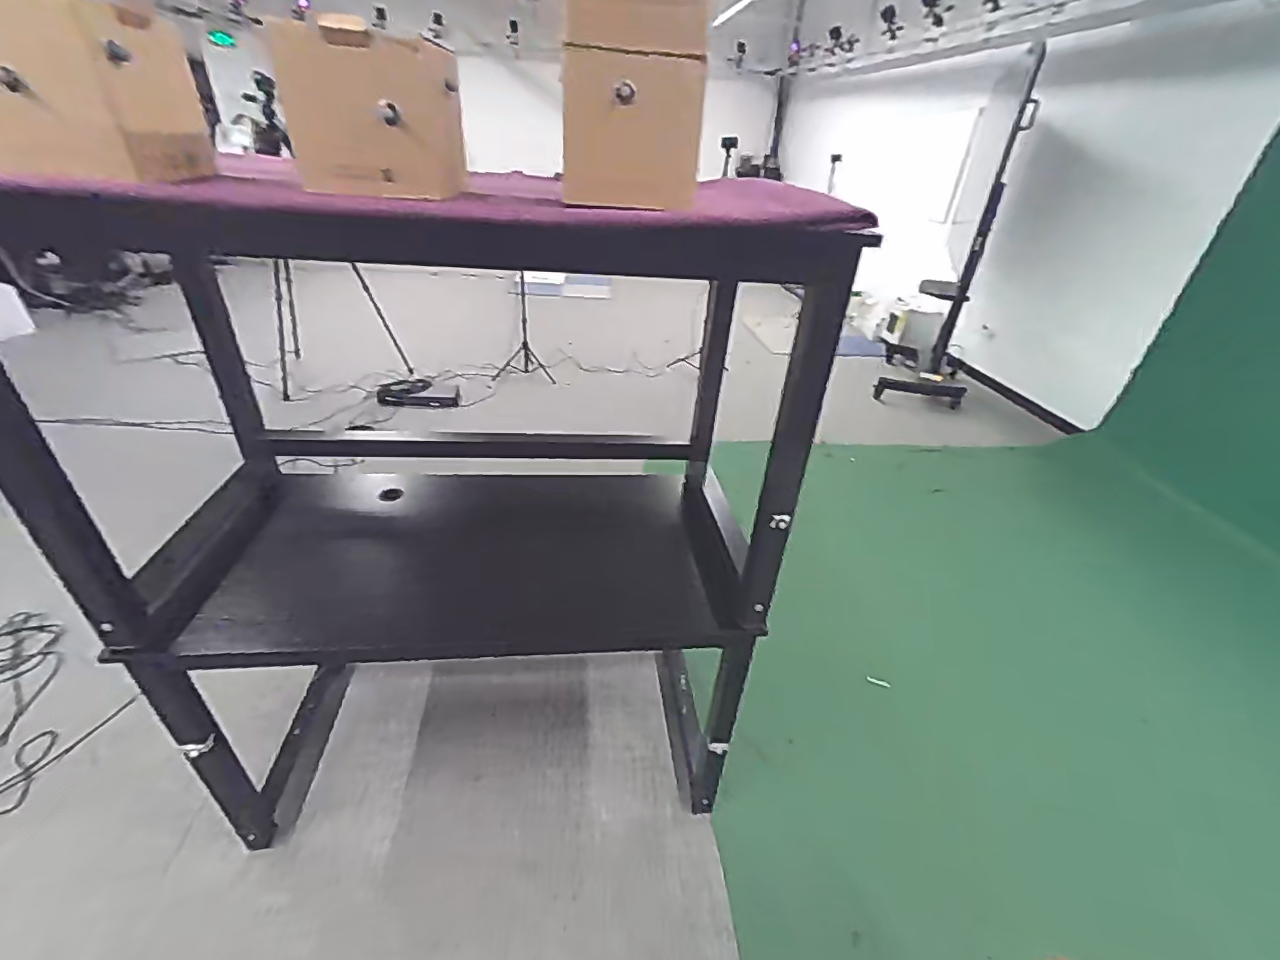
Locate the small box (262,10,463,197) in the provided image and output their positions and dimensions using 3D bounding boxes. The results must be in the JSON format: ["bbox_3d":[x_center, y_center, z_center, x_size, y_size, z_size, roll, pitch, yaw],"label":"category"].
[{"bbox_3d":[-0.327,-0.462,0.684,0.168,0.176,0.179,2,32,-7],"label":"small box"}]

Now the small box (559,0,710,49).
[{"bbox_3d":[-0.010,-0.613,0.654,0.179,0.176,0.168,0,30,-8],"label":"small box"}]

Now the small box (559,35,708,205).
[{"bbox_3d":[-0.018,-0.470,0.731,0.179,0.176,0.168,0,30,-8],"label":"small box"}]
